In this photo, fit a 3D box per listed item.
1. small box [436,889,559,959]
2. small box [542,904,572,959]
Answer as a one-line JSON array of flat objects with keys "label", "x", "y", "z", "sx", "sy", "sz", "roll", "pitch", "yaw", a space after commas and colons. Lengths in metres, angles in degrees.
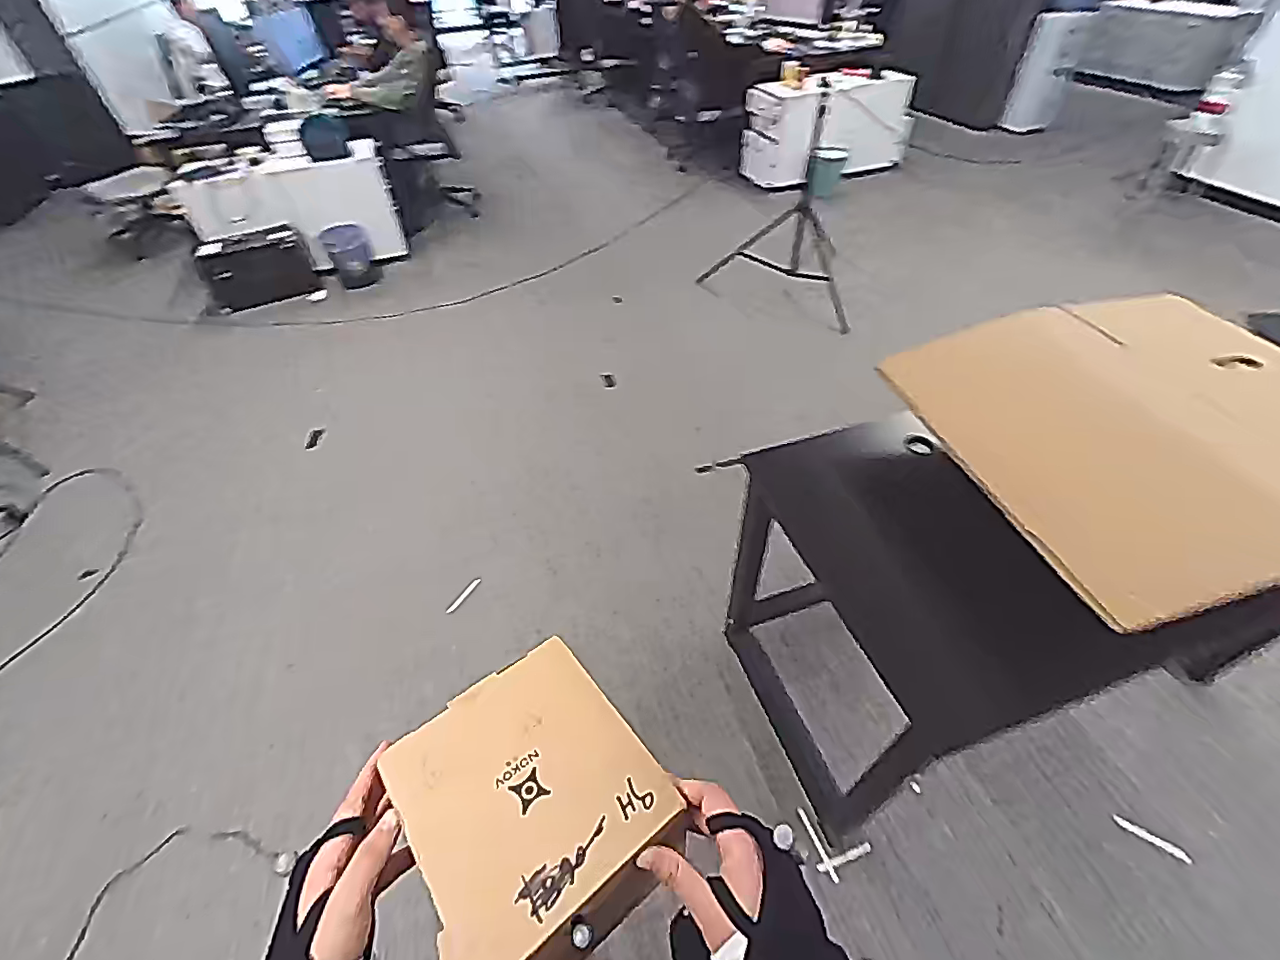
[{"label": "small box", "x": -0.233, "y": 0.857, "z": 0.936, "sx": 0.168, "sy": 0.176, "sz": 0.179, "roll": -20, "pitch": 47, "yaw": -17}, {"label": "small box", "x": -0.222, "y": 0.973, "z": 1.050, "sx": 0.168, "sy": 0.176, "sz": 0.179, "roll": -19, "pitch": 49, "yaw": -14}]
